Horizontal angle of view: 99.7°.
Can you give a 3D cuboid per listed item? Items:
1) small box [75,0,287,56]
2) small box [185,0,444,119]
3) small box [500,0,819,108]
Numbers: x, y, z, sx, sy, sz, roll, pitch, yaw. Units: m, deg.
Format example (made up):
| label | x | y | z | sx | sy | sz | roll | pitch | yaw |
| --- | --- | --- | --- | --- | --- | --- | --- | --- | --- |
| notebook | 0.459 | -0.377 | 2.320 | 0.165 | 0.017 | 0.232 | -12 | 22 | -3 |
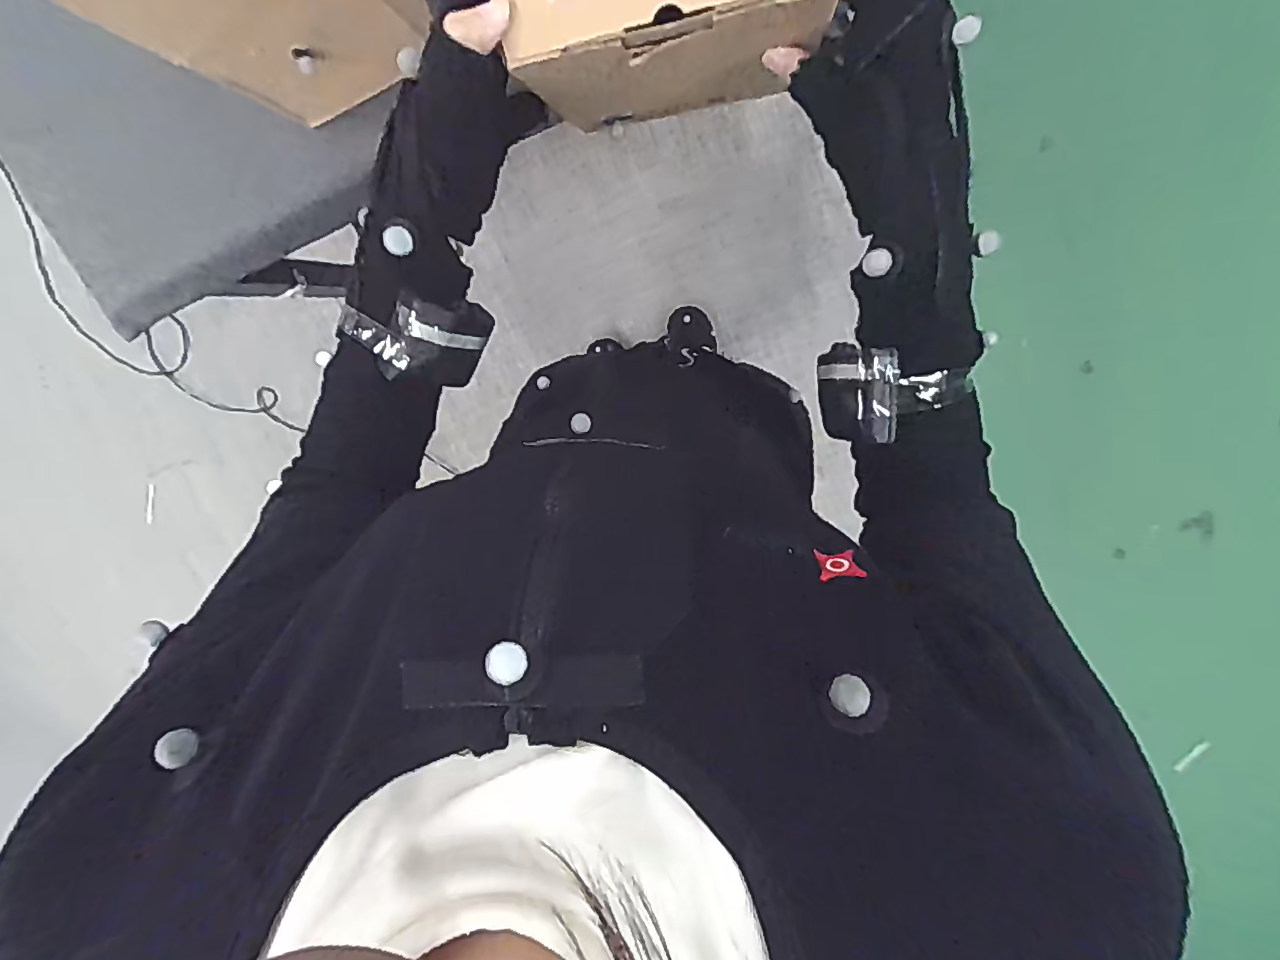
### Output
| label | x | y | z | sx | sy | sz | roll | pitch | yaw |
| --- | --- | --- | --- | --- | --- | --- | --- | --- | --- |
| small box | -0.334 | -0.426 | 0.339 | 0.179 | 0.176 | 0.168 | -19 | 101 | 13 |
| small box | -0.317 | -0.473 | 0.493 | 0.179 | 0.176 | 0.168 | -19 | 103 | 12 |
| small box | 0.014 | -0.334 | 0.302 | 0.168 | 0.176 | 0.179 | -4 | 111 | 11 |
